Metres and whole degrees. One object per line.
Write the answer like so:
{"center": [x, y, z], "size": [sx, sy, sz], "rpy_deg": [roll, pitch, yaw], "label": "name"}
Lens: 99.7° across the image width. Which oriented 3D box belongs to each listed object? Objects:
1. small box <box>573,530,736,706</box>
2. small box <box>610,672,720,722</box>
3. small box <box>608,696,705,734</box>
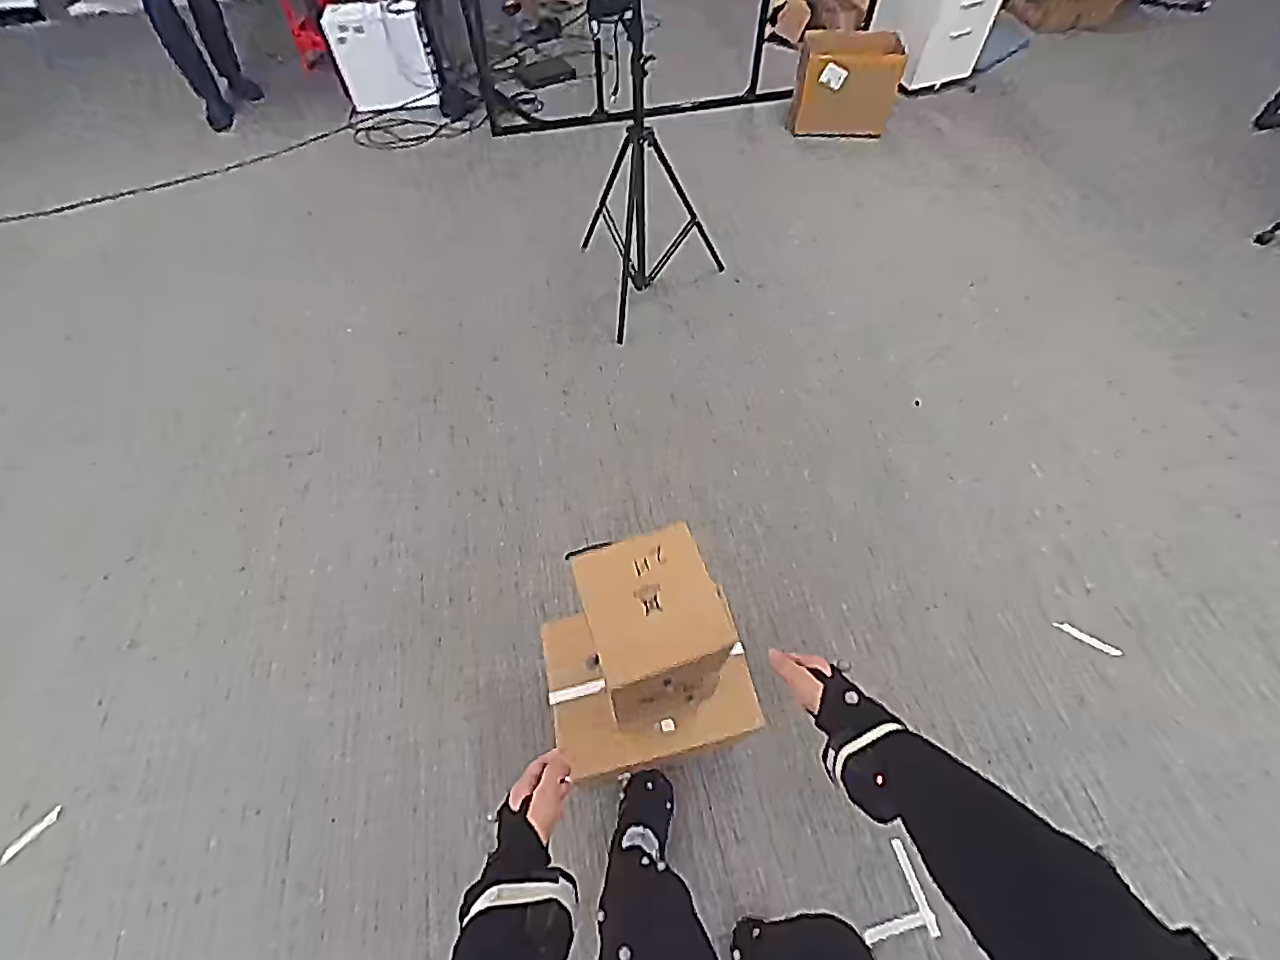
{"center": [0.014, 0.199, 0.749], "size": [0.168, 0.176, 0.179], "rpy_deg": [-16, 61, -11], "label": "small box"}
{"center": [0.020, 0.285, 0.889], "size": [0.168, 0.176, 0.179], "rpy_deg": [-13, 59, -8], "label": "small box"}
{"center": [0.015, 0.365, 1.031], "size": [0.168, 0.176, 0.179], "rpy_deg": [-12, 60, -6], "label": "small box"}
